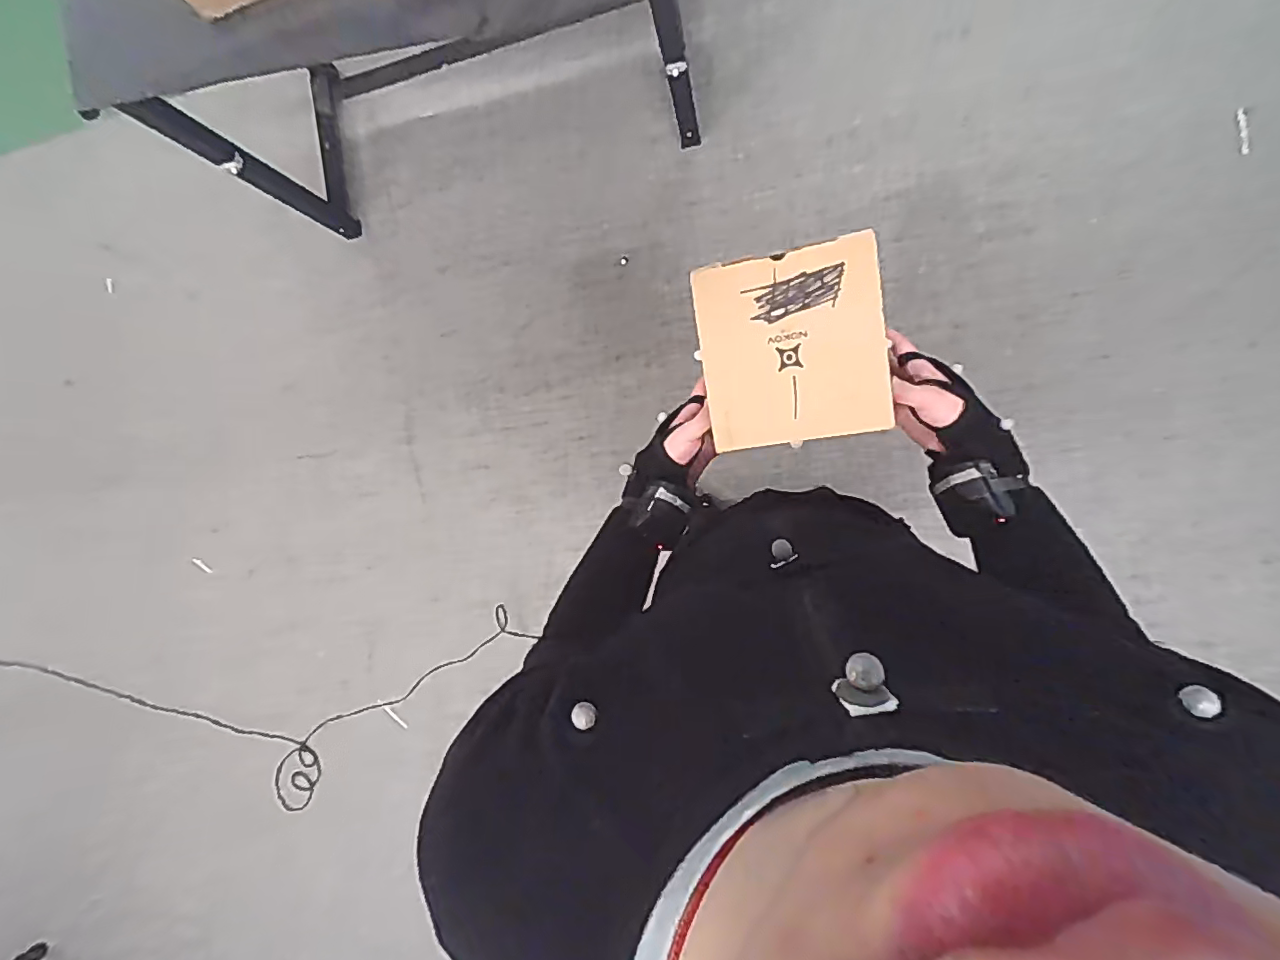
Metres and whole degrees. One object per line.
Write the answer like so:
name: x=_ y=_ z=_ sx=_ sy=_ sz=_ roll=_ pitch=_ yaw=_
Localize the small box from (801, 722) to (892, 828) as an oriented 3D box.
small box: x=0.532 y=0.763 z=1.420 sx=0.168 sy=0.176 sz=0.179 roll=-21 pitch=88 yaw=13
